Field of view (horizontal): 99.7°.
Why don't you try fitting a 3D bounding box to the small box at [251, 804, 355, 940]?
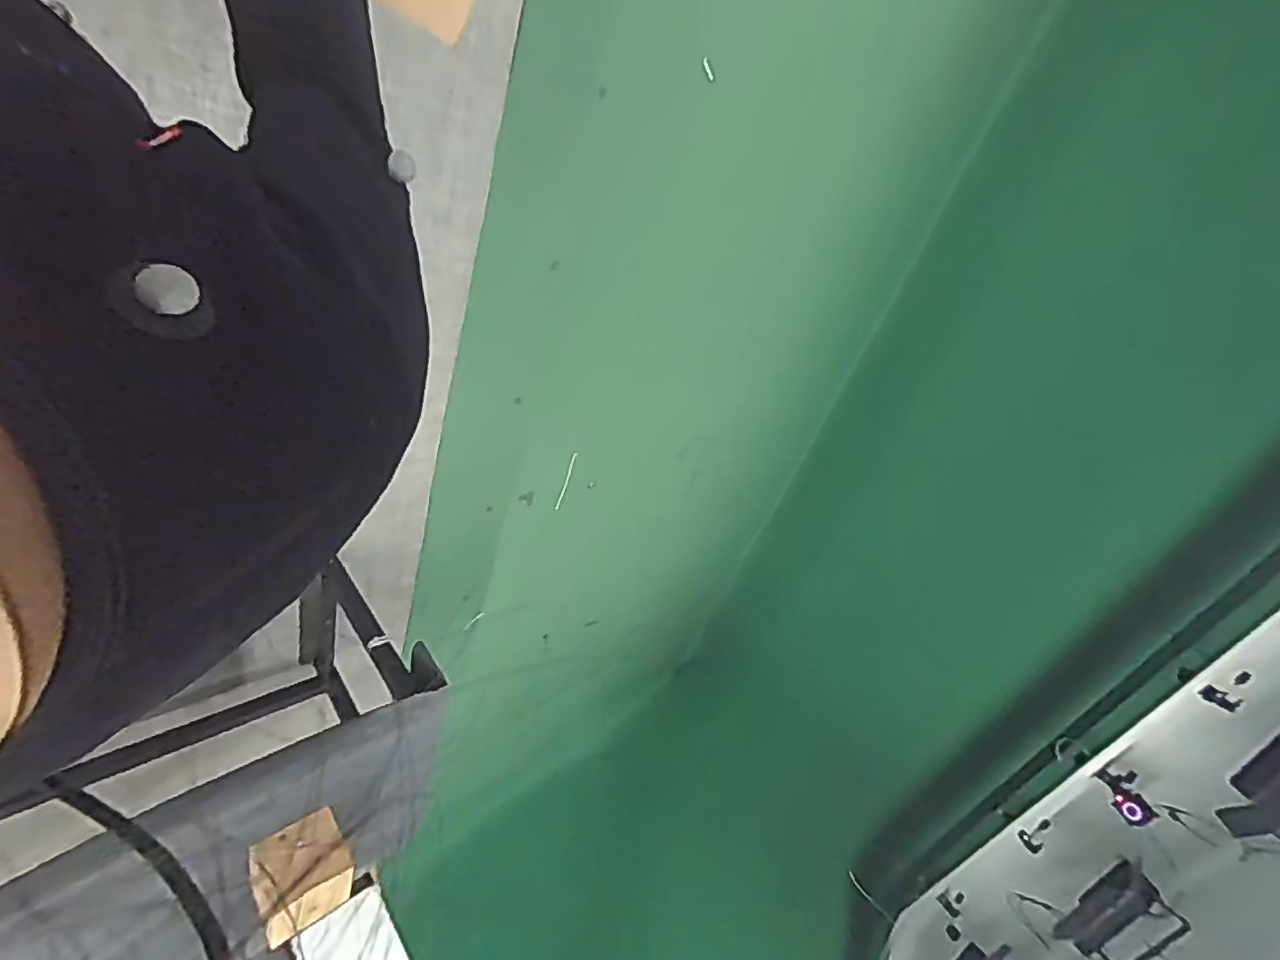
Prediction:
[{"bbox_3d":[-0.800,0.917,1.279,0.168,0.176,0.179,-13,134,-47],"label":"small box"}]
